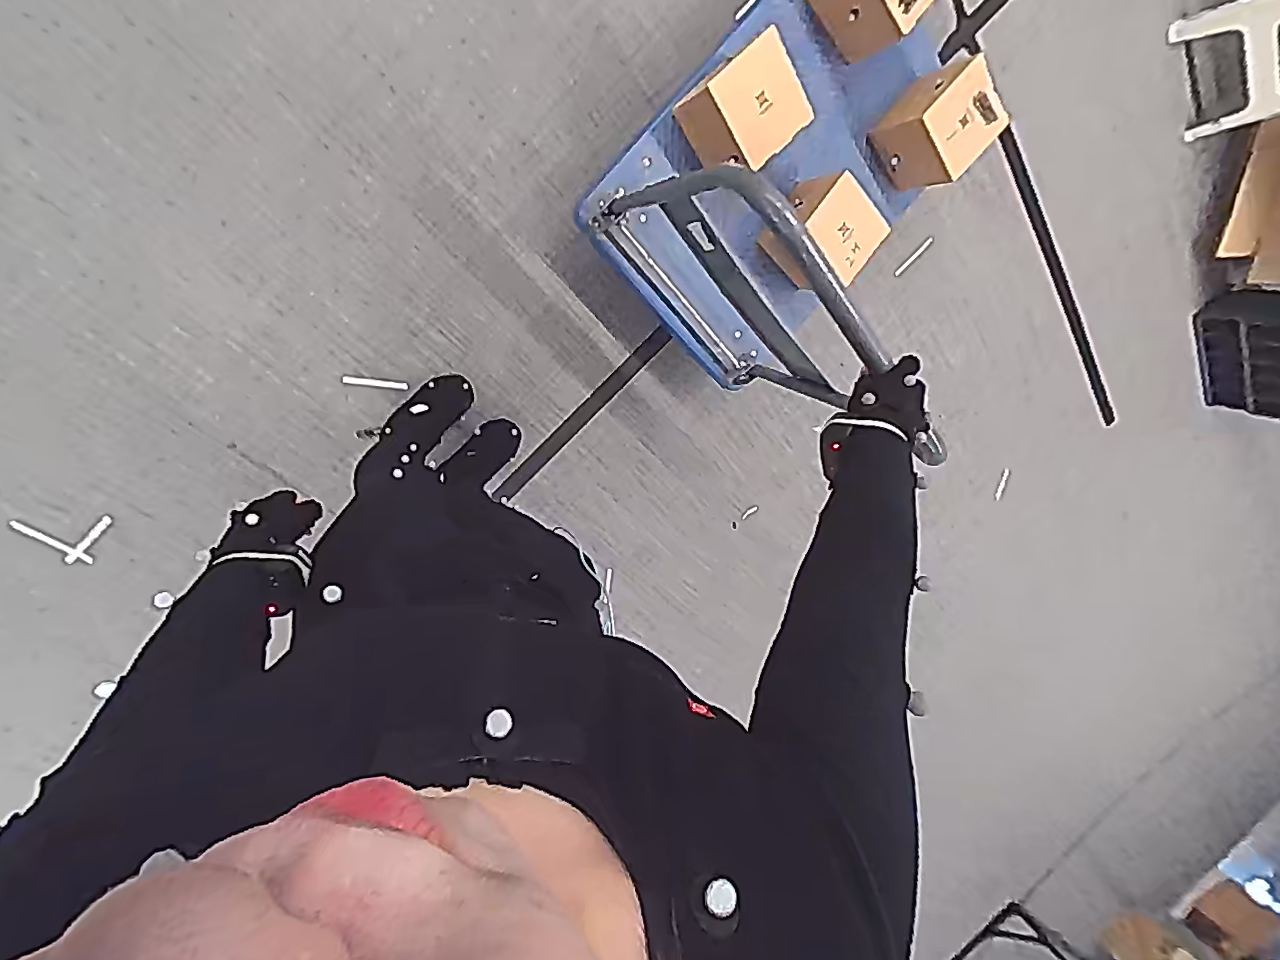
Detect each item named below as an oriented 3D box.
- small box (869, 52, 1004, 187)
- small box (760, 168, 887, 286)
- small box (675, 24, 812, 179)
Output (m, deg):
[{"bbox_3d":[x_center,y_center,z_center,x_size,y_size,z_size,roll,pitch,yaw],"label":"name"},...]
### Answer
[{"bbox_3d":[0.662,-0.798,1.218,0.179,0.176,0.168,-47,118,3],"label":"small box"},{"bbox_3d":[0.405,-0.558,1.218,0.179,0.176,0.168,35,96,-27],"label":"small box"},{"bbox_3d":[0.198,-0.735,1.075,0.168,0.176,0.179,-43,120,-1],"label":"small box"}]
